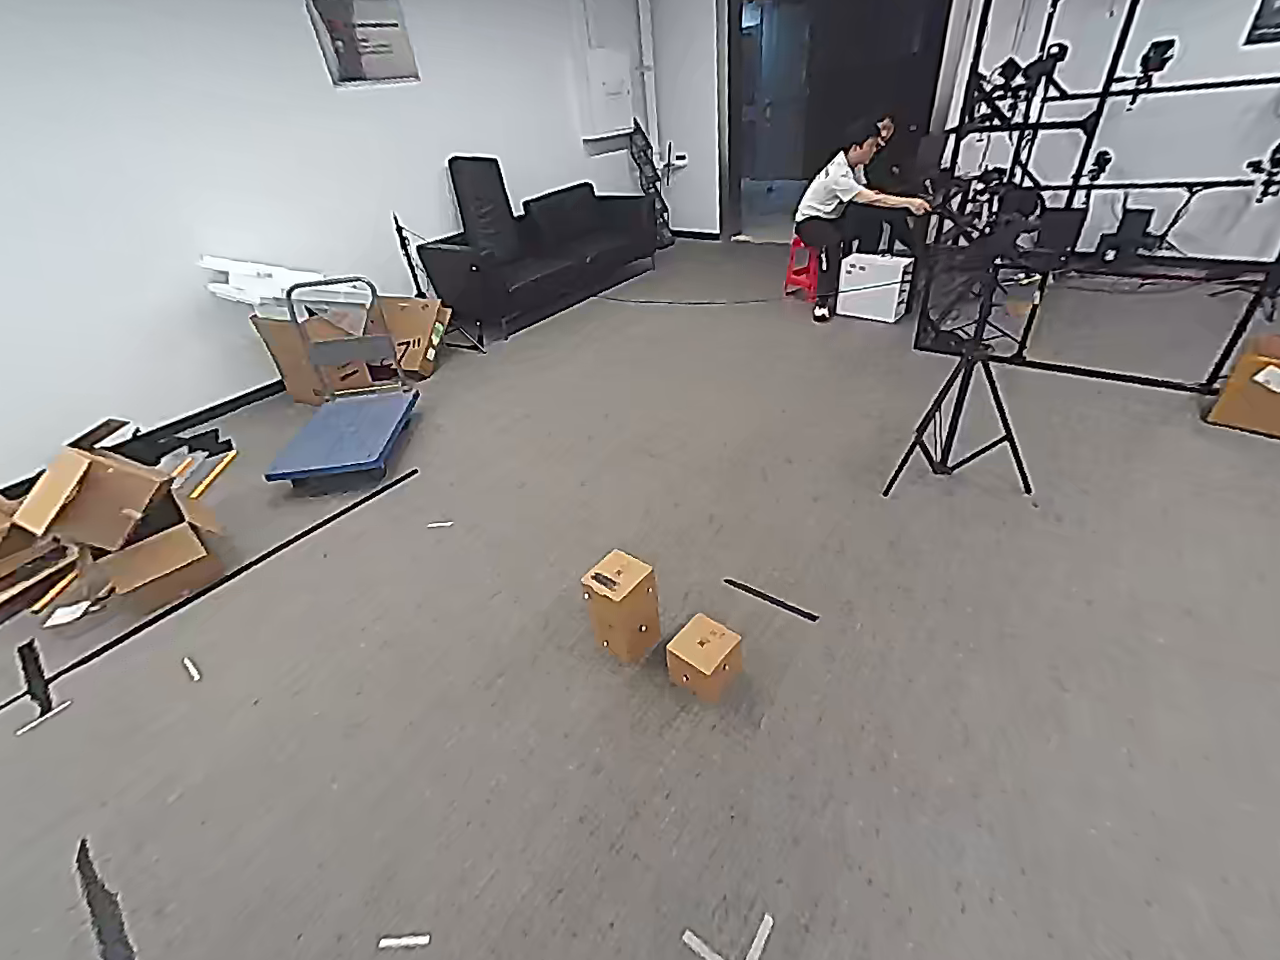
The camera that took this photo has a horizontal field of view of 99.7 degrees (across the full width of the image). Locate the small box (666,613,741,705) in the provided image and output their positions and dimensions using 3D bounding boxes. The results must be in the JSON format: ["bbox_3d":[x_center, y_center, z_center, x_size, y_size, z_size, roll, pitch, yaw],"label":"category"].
[{"bbox_3d":[0.203,0.563,1.694,0.168,0.176,0.179,24,45,35],"label":"small box"}]

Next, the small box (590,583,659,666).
[{"bbox_3d":[-0.046,0.492,1.845,0.168,0.176,0.179,22,45,36],"label":"small box"}]
